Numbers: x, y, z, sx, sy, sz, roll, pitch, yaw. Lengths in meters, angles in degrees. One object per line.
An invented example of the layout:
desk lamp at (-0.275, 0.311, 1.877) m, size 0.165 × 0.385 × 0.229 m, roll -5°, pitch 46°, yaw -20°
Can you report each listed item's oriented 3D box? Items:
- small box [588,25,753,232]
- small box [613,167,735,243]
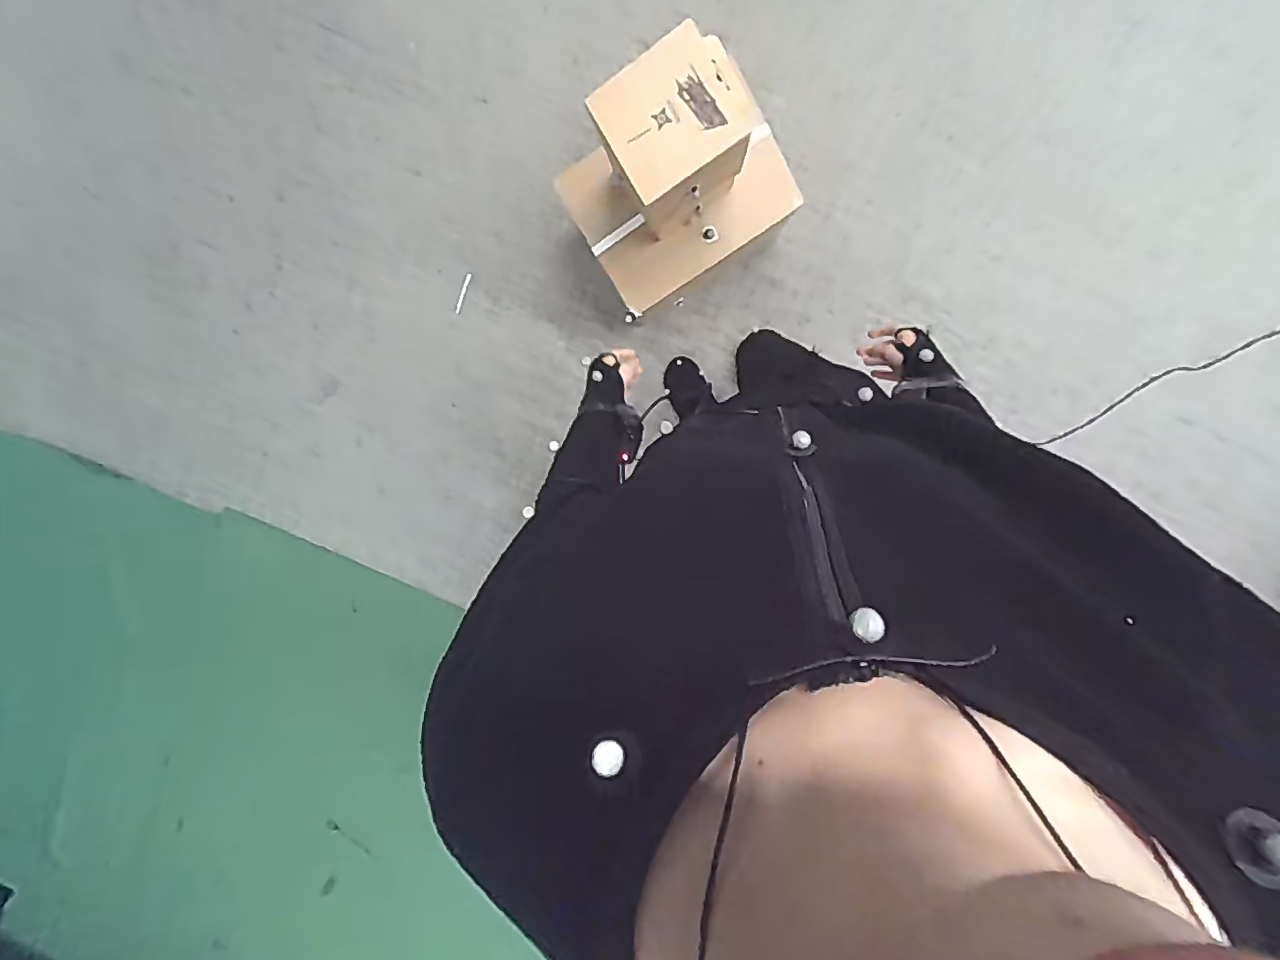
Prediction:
small box at (0.047, -0.510, 0.816) m, size 0.179 × 0.176 × 0.168 m, roll -30°, pitch 98°, yaw 11°
small box at (0.059, -0.562, 0.973) m, size 0.179 × 0.176 × 0.168 m, roll -35°, pitch 96°, yaw 10°
